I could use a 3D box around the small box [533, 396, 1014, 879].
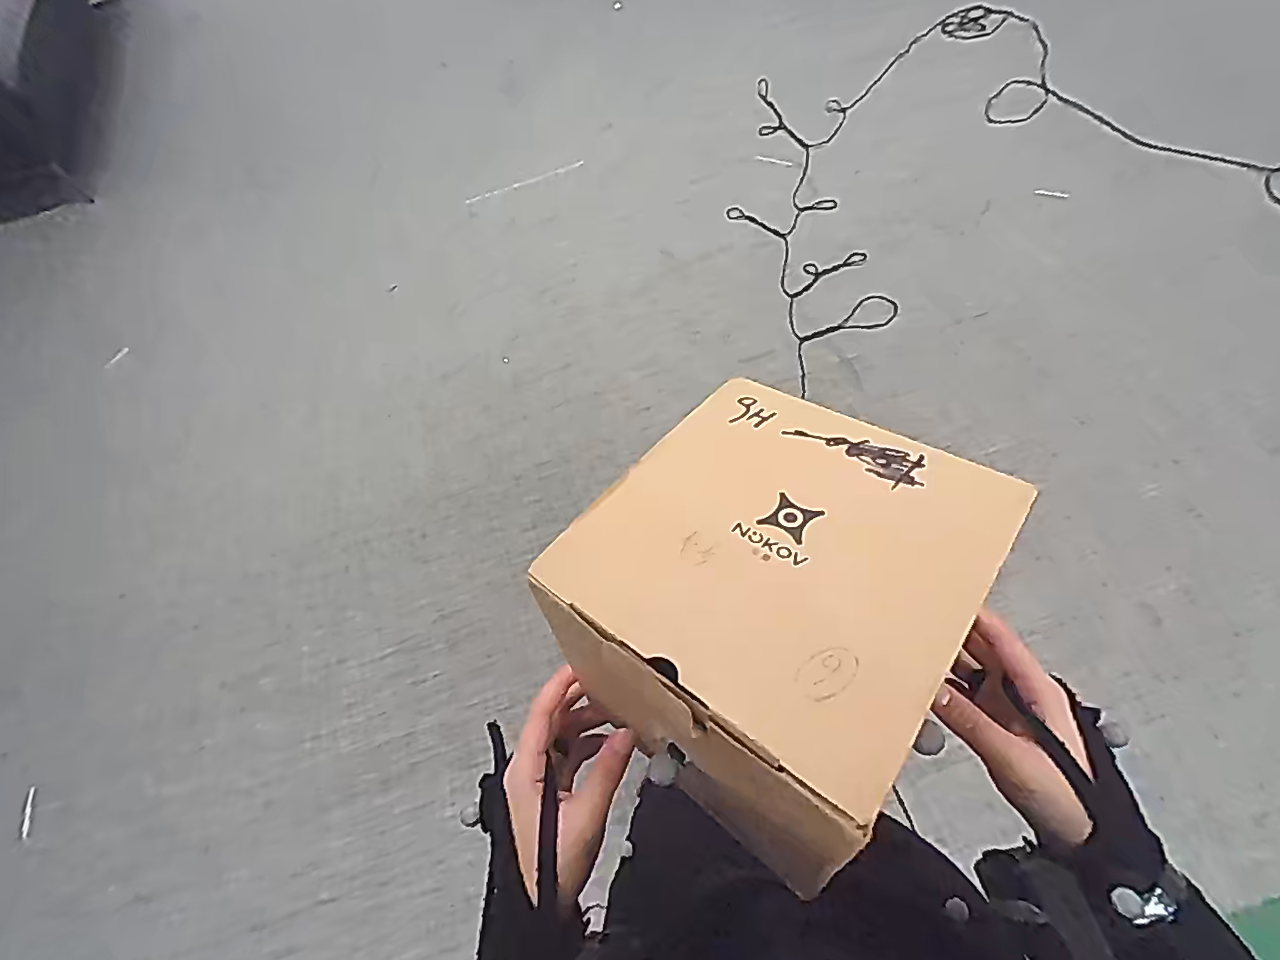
[{"bbox_3d":[0.073,0.087,0.315,0.168,0.176,0.179,28,58,31],"label":"small box"}]
